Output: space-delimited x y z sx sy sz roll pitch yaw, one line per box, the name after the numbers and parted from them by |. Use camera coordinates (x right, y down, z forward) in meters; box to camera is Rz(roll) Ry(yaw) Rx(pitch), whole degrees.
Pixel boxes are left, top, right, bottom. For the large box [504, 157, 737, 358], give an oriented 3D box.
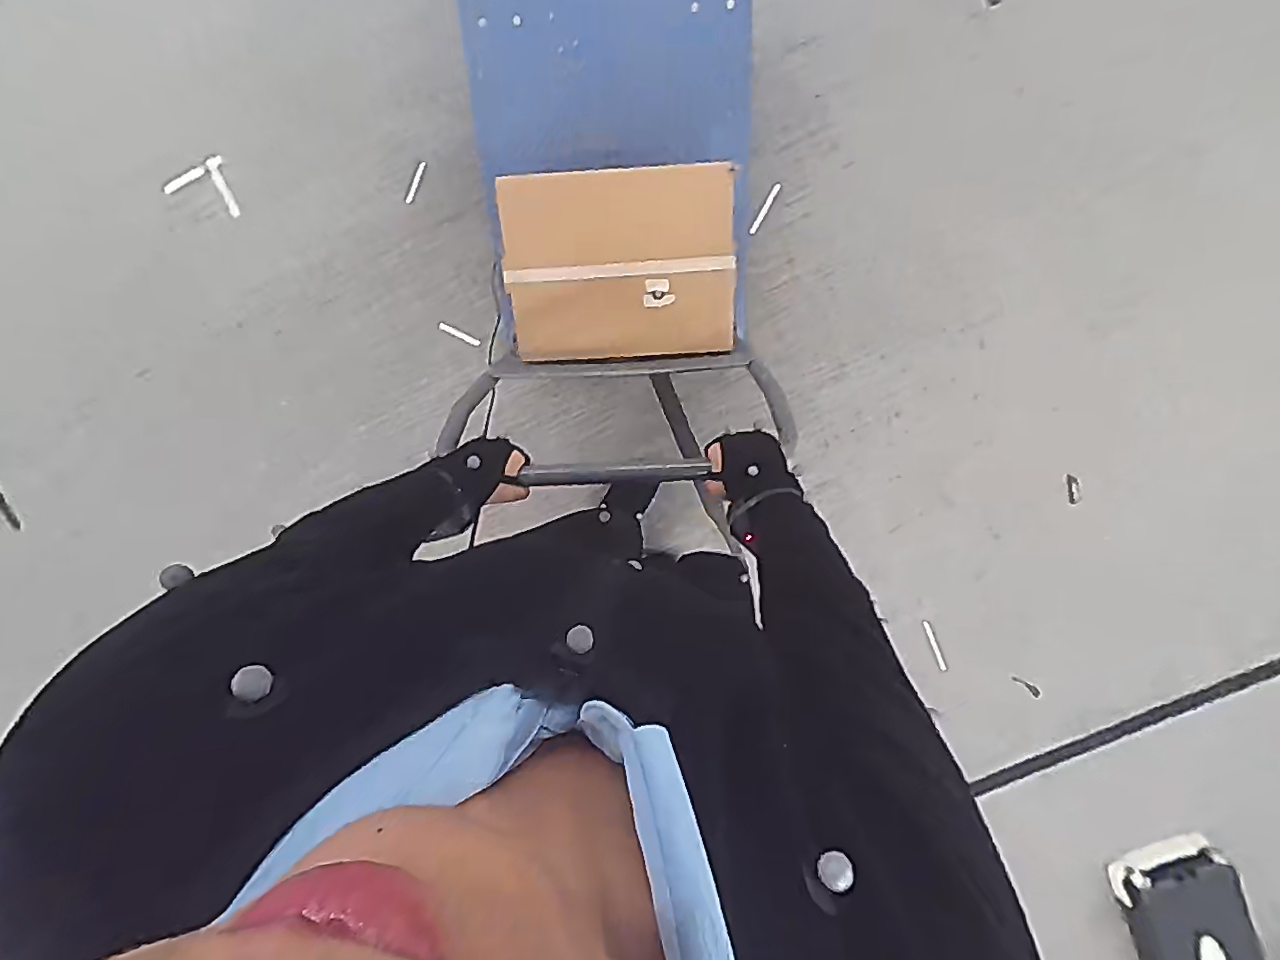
-0.027 -0.444 1.113 0.408 0.320 0.320 -4 113 1 | large box
